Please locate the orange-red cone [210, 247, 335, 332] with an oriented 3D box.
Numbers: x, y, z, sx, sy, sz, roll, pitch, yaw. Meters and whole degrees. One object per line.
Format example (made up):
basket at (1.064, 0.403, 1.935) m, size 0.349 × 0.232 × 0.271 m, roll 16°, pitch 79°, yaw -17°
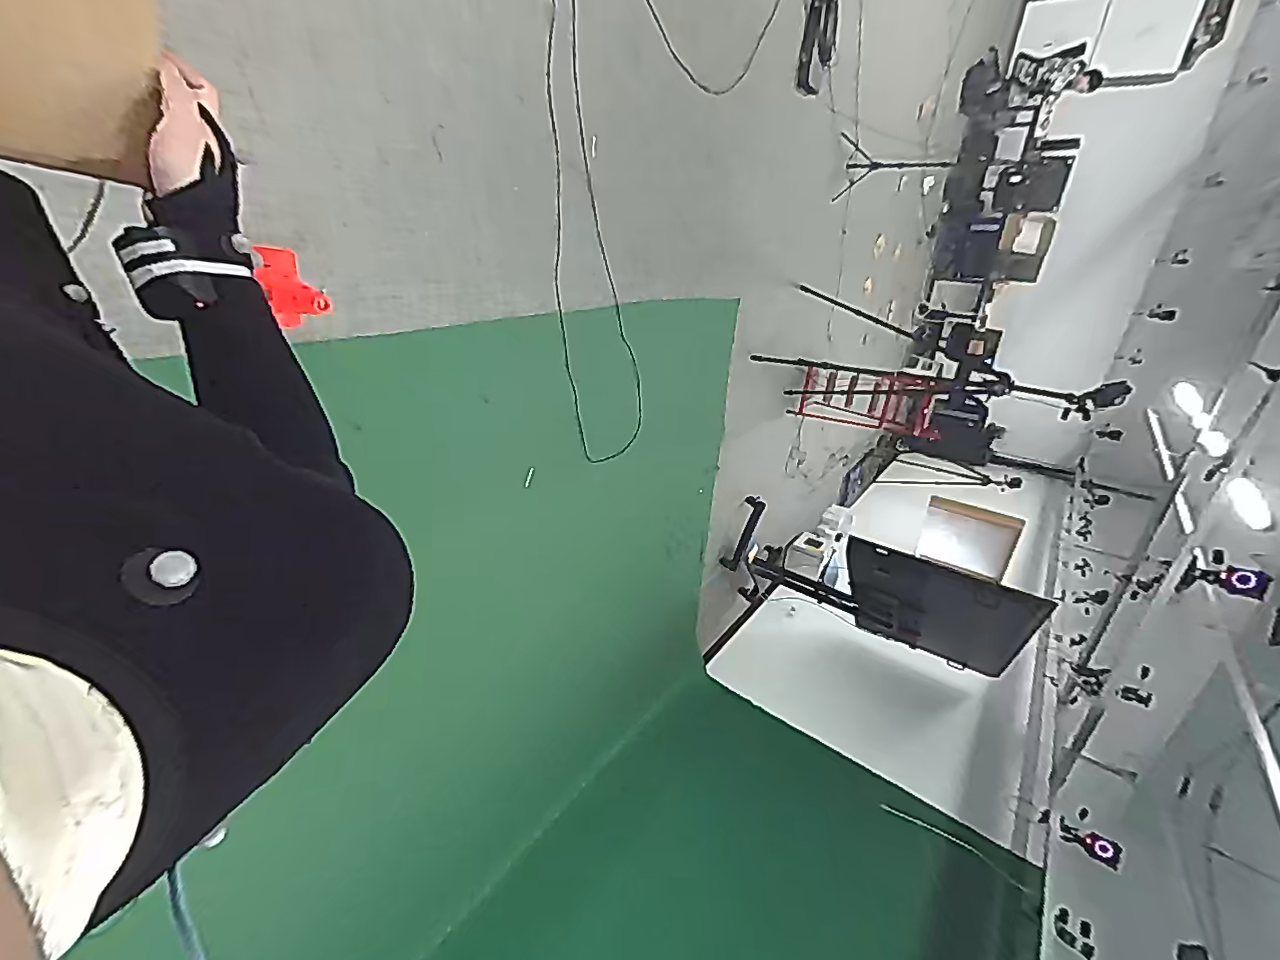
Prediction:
orange-red cone at (-0.838, -0.430, 1.297) m, size 0.199 × 0.360 × 0.198 m, roll -19°, pitch 123°, yaw -53°
